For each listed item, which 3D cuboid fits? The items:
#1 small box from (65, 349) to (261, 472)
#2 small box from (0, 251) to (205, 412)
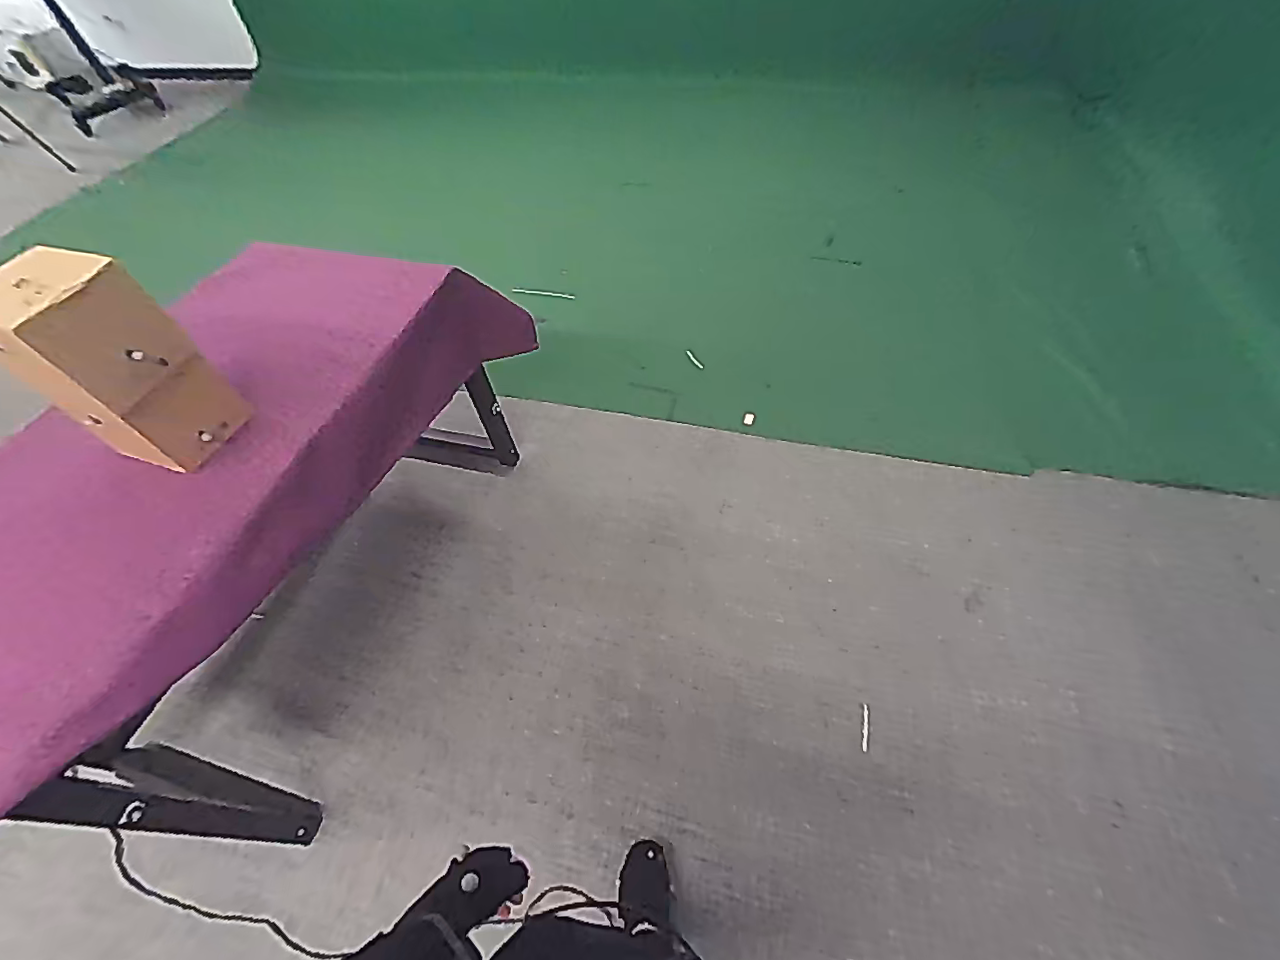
[{"bbox_3d":[-0.852,-0.137,0.977,0.179,0.176,0.168,15,57,15],"label":"small box"},{"bbox_3d":[-0.850,-0.227,0.839,0.179,0.176,0.168,13,57,14],"label":"small box"}]
